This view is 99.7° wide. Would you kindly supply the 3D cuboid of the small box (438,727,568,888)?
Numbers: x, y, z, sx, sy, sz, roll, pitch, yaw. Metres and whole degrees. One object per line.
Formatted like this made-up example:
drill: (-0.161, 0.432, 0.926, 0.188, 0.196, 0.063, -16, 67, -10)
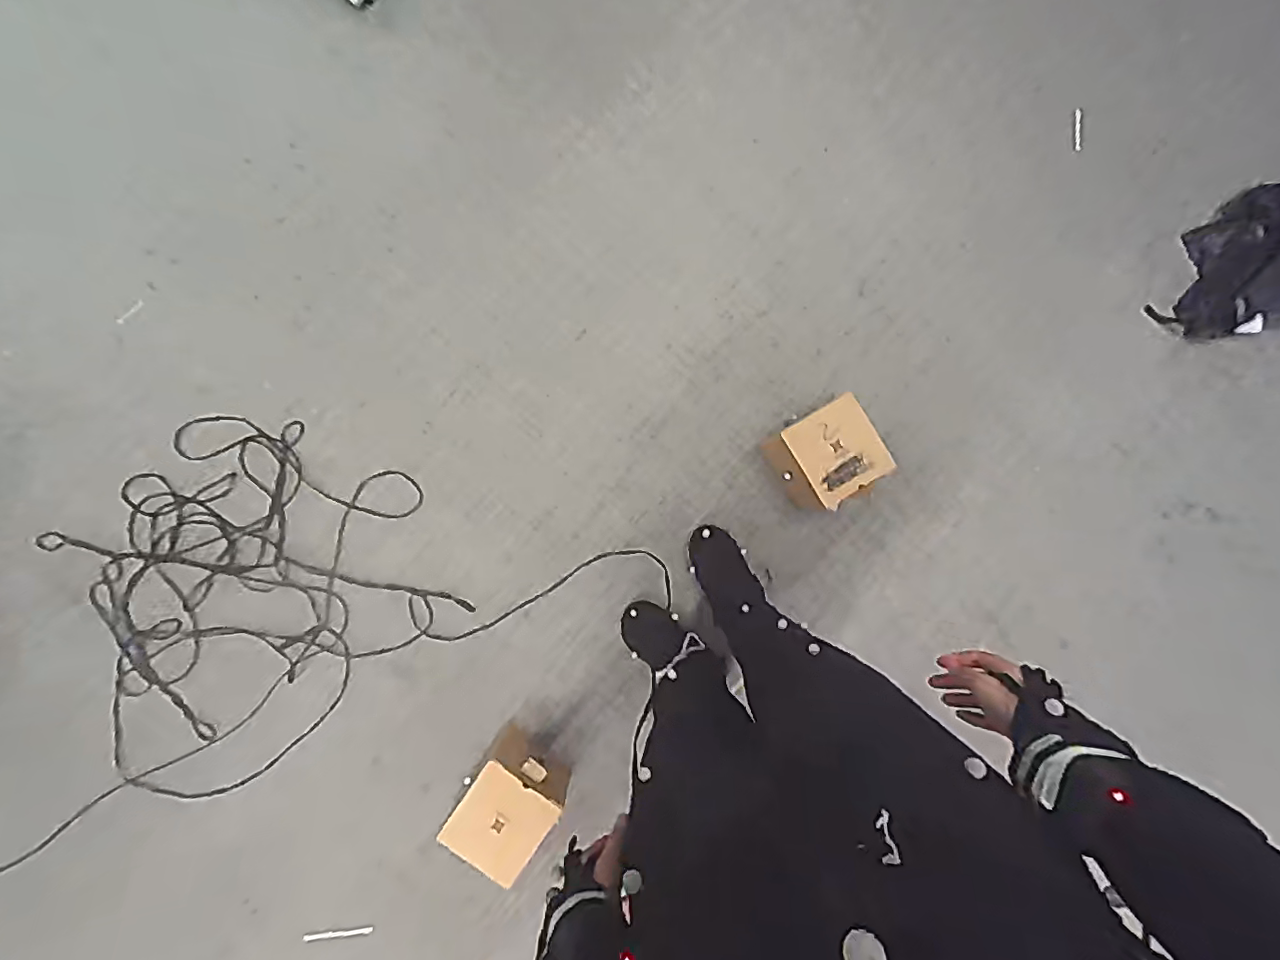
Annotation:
small box: (-0.256, 0.630, 1.064, 0.168, 0.176, 0.179, 35, 86, 1)
